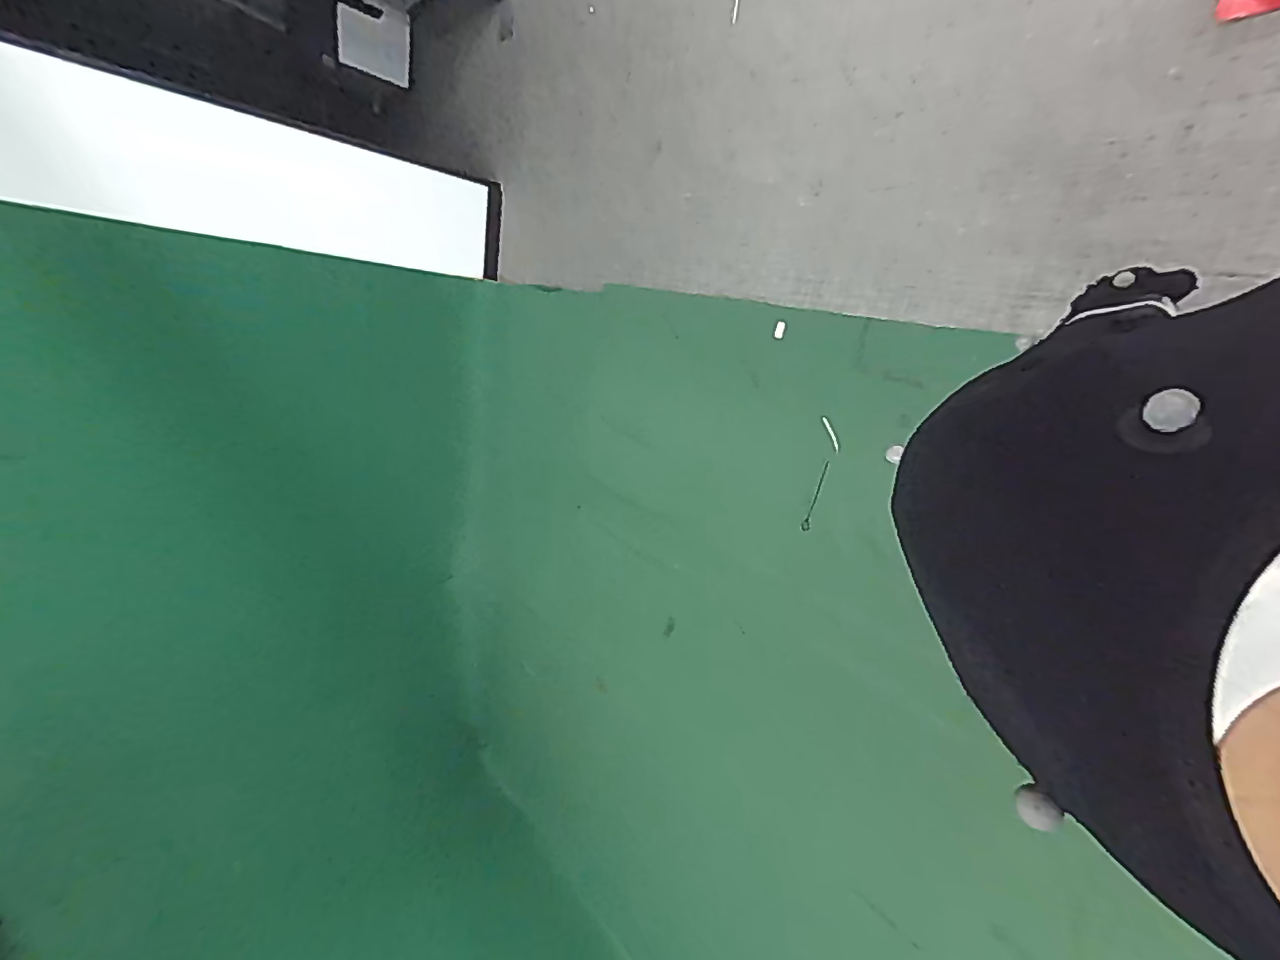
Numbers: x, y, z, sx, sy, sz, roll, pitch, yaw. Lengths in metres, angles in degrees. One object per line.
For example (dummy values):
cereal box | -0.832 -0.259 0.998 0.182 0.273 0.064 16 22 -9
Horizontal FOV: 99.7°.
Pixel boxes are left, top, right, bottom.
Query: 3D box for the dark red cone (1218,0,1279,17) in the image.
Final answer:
dark red cone | 0.988 -0.875 0.768 0.202 0.394 0.201 18 109 45
